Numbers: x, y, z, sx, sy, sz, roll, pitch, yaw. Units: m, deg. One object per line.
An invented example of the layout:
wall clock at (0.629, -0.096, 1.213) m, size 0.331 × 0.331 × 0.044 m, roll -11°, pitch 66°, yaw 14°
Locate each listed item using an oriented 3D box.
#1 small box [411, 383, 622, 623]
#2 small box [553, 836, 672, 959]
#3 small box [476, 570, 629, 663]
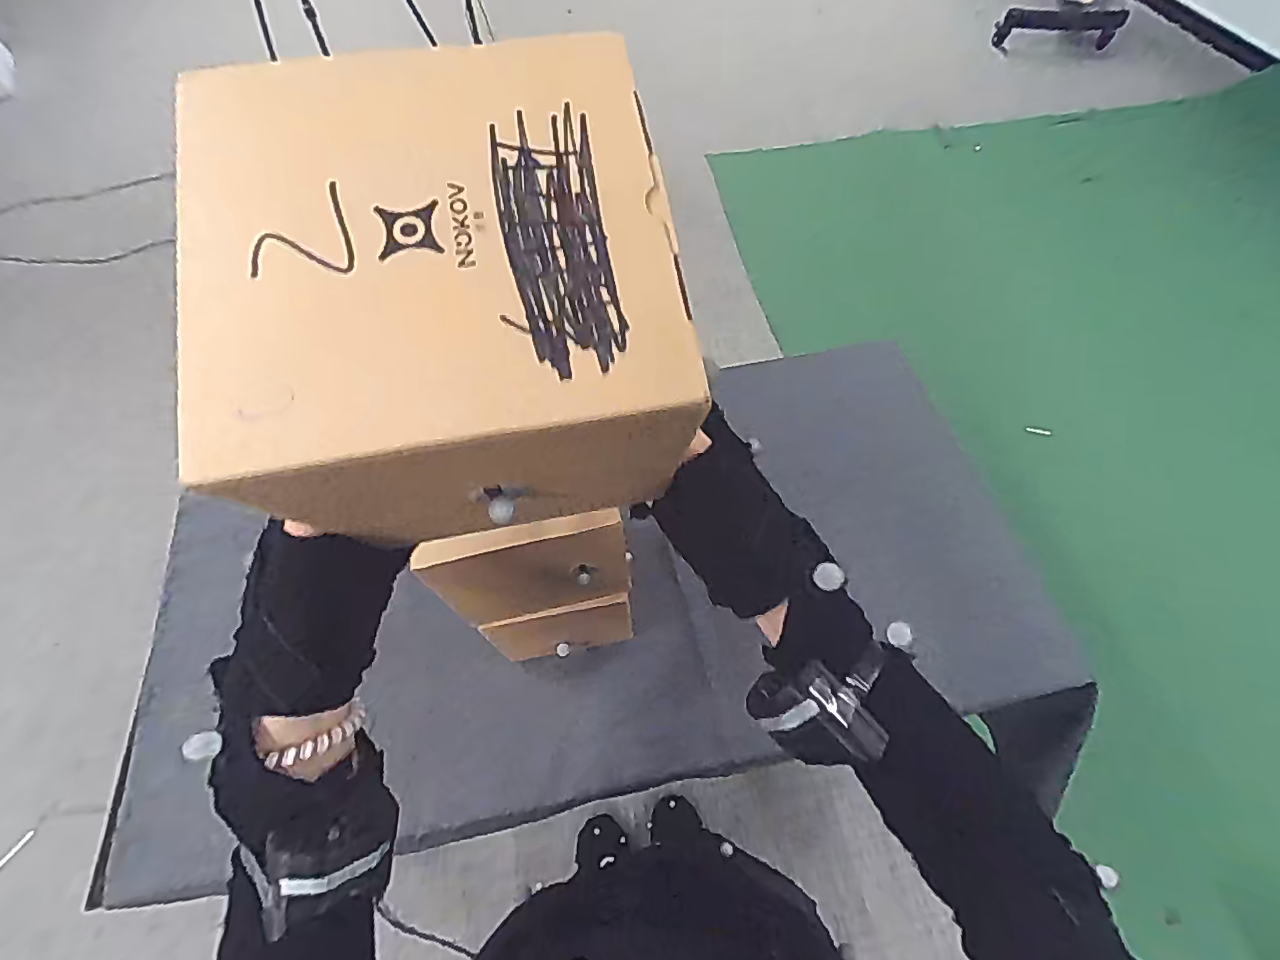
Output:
small box at (-0.116, 0.029, 0.553) m, size 0.179 × 0.176 × 0.168 m, roll -11°, pitch 58°, yaw -5°
small box at (-0.058, 0.862, 1.109) m, size 0.179 × 0.176 × 0.168 m, roll 9°, pitch 69°, yaw 26°
small box at (-0.108, 0.116, 0.691) m, size 0.168 × 0.176 × 0.179 m, roll -9°, pitch 59°, yaw -4°
